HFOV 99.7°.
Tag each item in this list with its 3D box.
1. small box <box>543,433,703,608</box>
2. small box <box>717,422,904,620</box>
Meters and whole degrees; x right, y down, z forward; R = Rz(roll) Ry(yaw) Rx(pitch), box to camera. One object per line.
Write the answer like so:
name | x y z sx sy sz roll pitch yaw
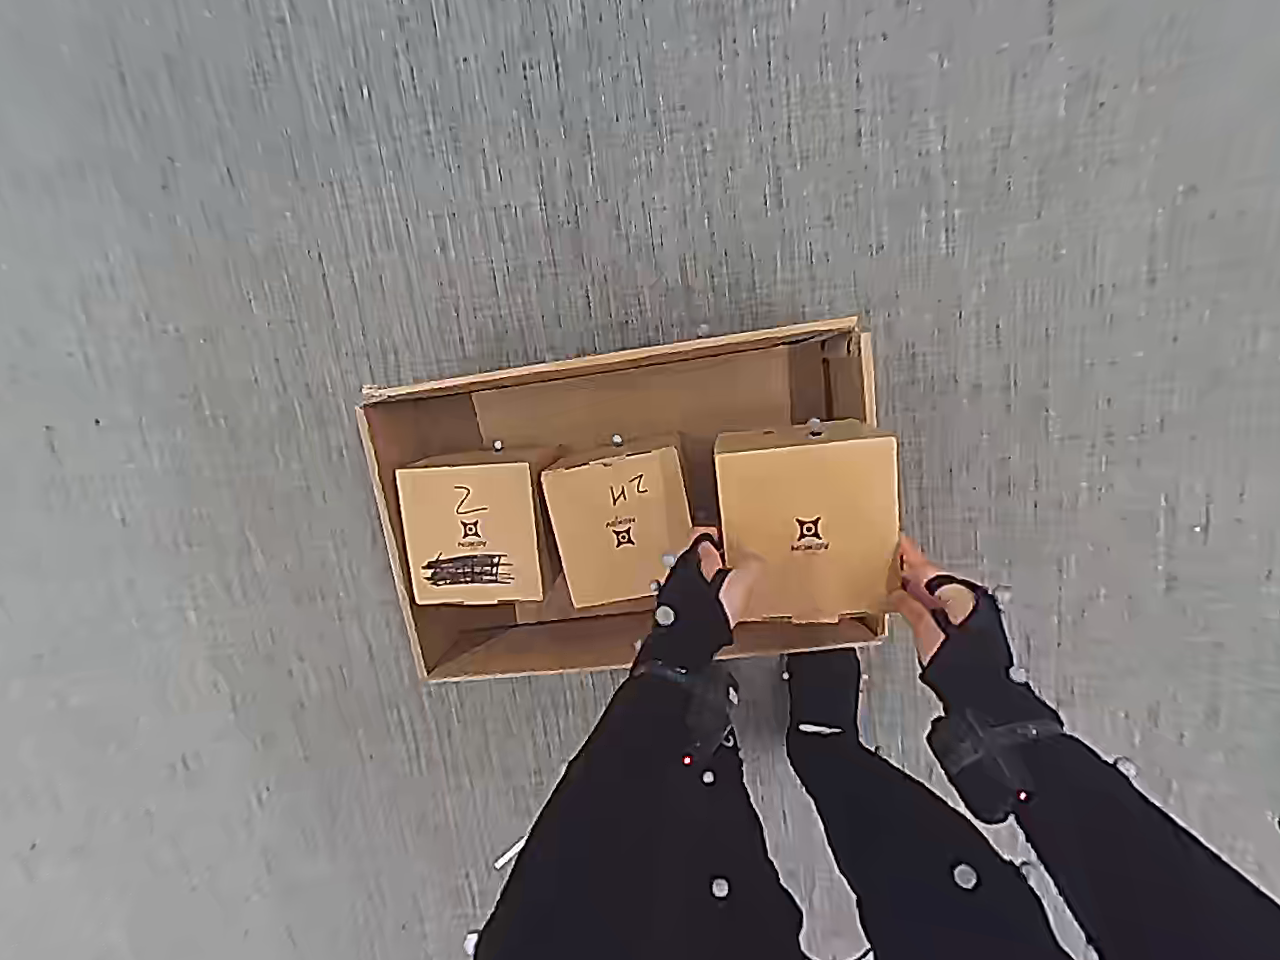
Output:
small box | -0.013 0.044 0.717 0.168 0.176 0.179 -11 100 5
small box | 0.175 0.033 0.596 0.168 0.176 0.179 -7 102 10
